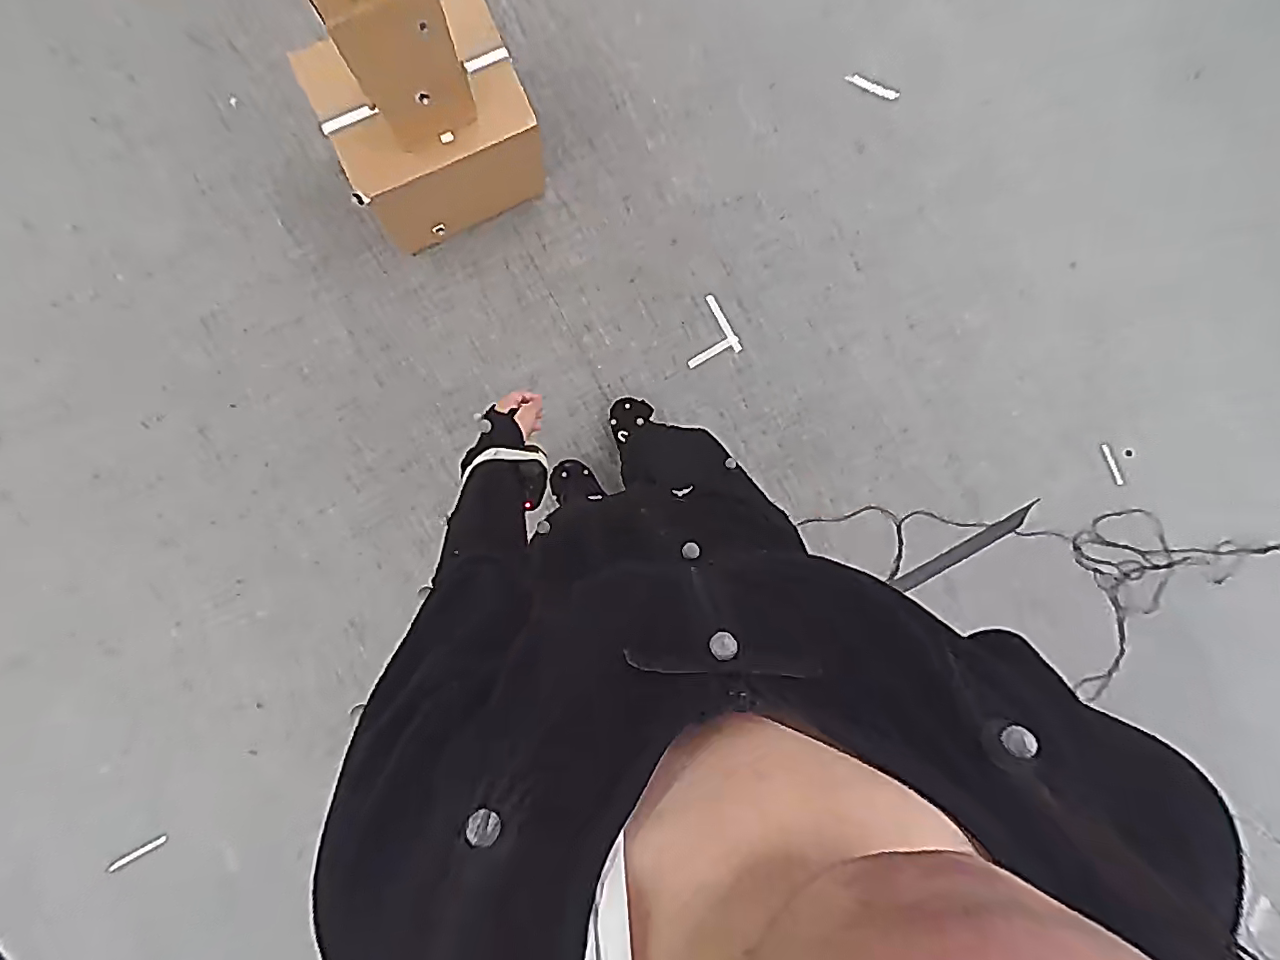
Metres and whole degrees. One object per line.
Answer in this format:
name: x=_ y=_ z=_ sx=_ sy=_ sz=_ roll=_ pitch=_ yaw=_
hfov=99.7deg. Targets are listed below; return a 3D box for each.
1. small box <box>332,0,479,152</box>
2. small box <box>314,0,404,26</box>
small box: x=-0.431 y=-0.770 z=1.026 sx=0.179 sy=0.176 sz=0.168 roll=-29 pitch=97 yaw=-5
small box: x=-0.407 y=-0.760 z=0.701 sx=0.168 sy=0.176 sz=0.179 roll=-29 pitch=97 yaw=-4
